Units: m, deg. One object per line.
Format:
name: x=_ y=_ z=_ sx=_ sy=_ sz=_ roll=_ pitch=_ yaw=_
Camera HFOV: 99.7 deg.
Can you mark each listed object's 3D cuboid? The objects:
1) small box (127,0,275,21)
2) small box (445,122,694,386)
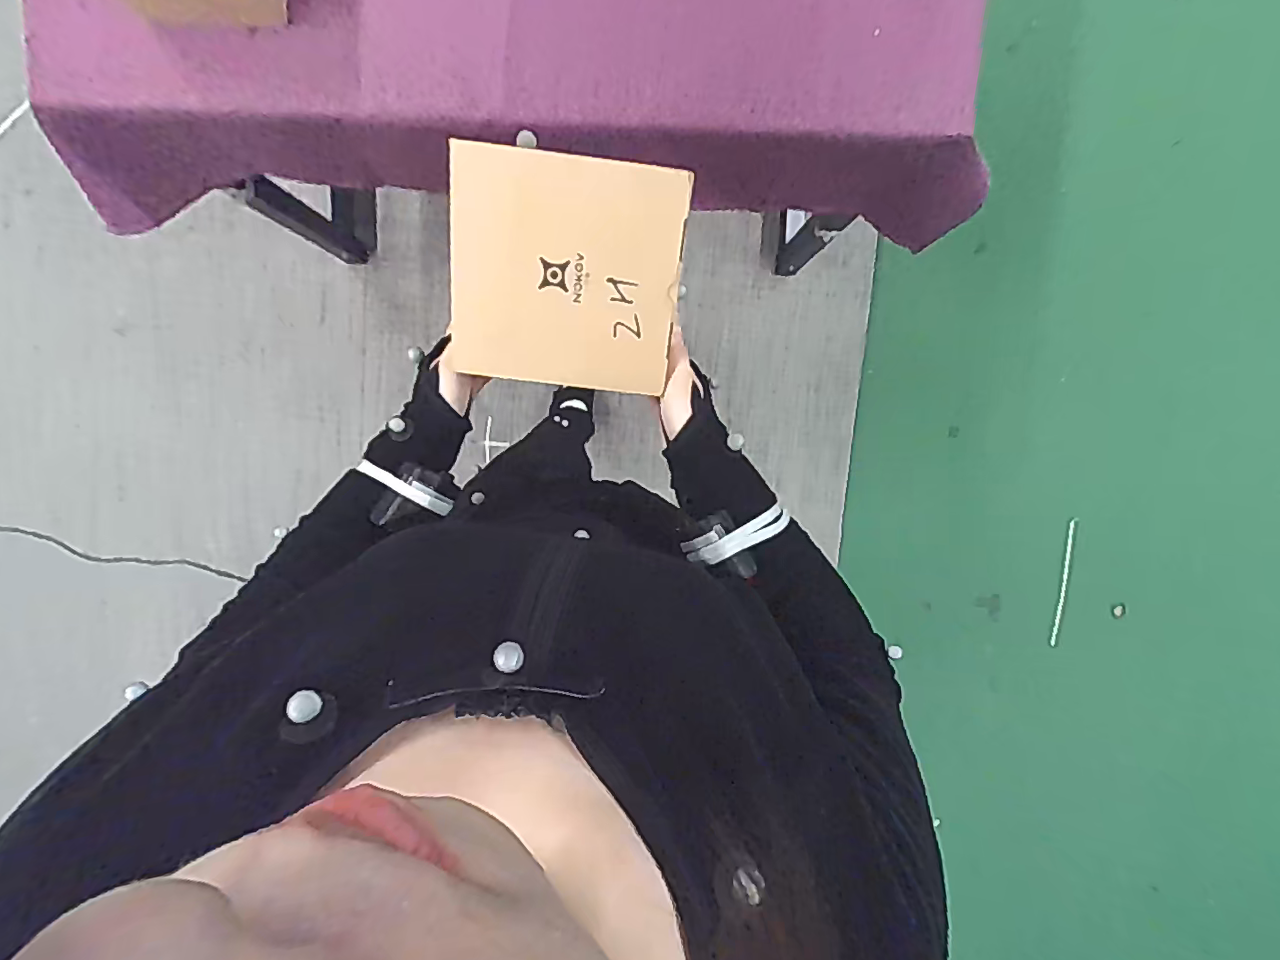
small box: x=-0.522 y=-0.640 z=0.580 sx=0.179 sy=0.176 sz=0.168 roll=-1 pitch=96 yaw=-1
small box: x=-0.057 y=-0.191 z=0.482 sx=0.179 sy=0.176 sz=0.168 roll=8 pitch=112 yaw=-3
